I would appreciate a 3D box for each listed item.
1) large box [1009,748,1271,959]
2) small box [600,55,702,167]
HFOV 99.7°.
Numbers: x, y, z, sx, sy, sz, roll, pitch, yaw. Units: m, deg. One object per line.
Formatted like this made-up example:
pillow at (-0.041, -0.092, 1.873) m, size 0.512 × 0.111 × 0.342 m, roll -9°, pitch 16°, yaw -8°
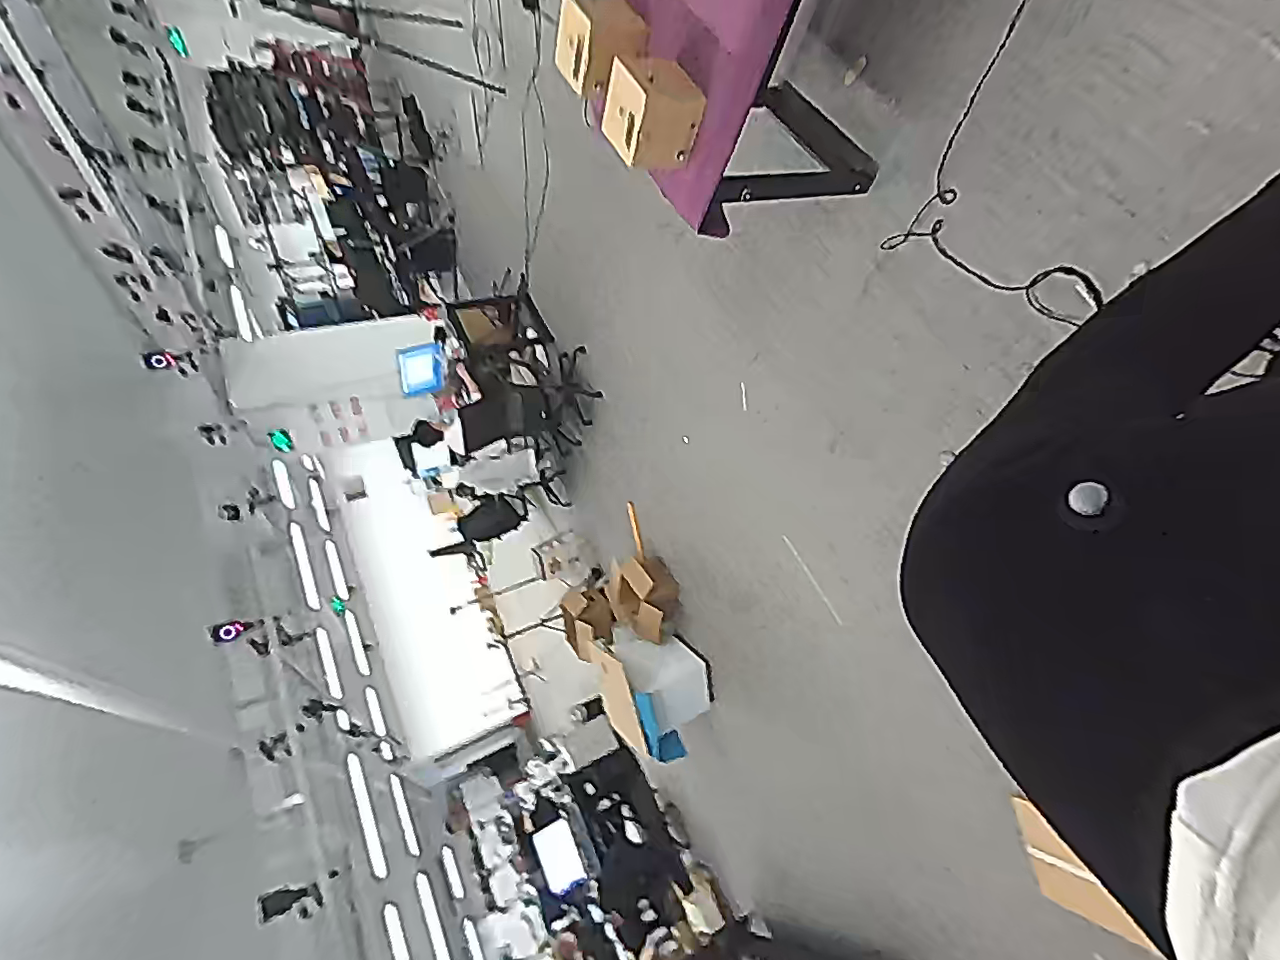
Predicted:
large box at (1.324, 0.991, 1.459) m, size 0.408 × 0.320 × 0.320 m, roll -18°, pitch 90°, yaw 63°
small box at (0.025, -0.893, 1.312) m, size 0.179 × 0.176 × 0.168 m, roll 62°, pitch 152°, yaw 22°
